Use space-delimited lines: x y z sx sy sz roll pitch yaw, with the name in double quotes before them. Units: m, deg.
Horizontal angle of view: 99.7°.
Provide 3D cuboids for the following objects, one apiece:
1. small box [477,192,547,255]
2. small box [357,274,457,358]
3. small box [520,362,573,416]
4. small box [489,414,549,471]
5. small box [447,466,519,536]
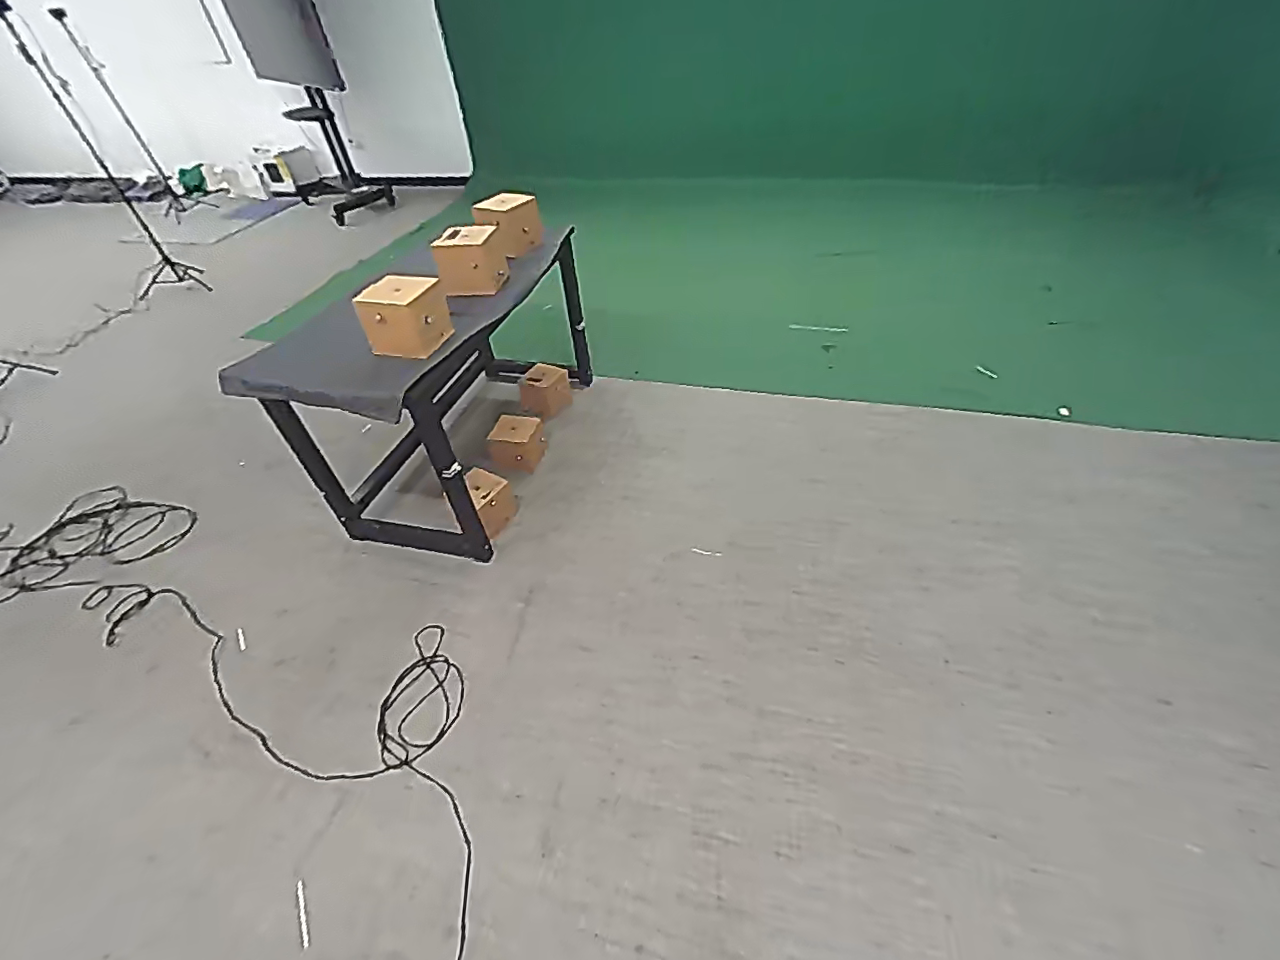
"small box" -0.475 -0.961 2.031 0.179 0.176 0.168 23 50 29
"small box" -0.650 -0.466 1.537 0.179 0.176 0.168 9 46 14
"small box" -0.428 -0.423 2.524 0.168 0.176 0.179 18 47 22
"small box" -0.496 -0.155 2.252 0.179 0.176 0.168 6 44 12
"small box" -0.580 0.081 2.016 0.179 0.176 0.168 21 50 25
